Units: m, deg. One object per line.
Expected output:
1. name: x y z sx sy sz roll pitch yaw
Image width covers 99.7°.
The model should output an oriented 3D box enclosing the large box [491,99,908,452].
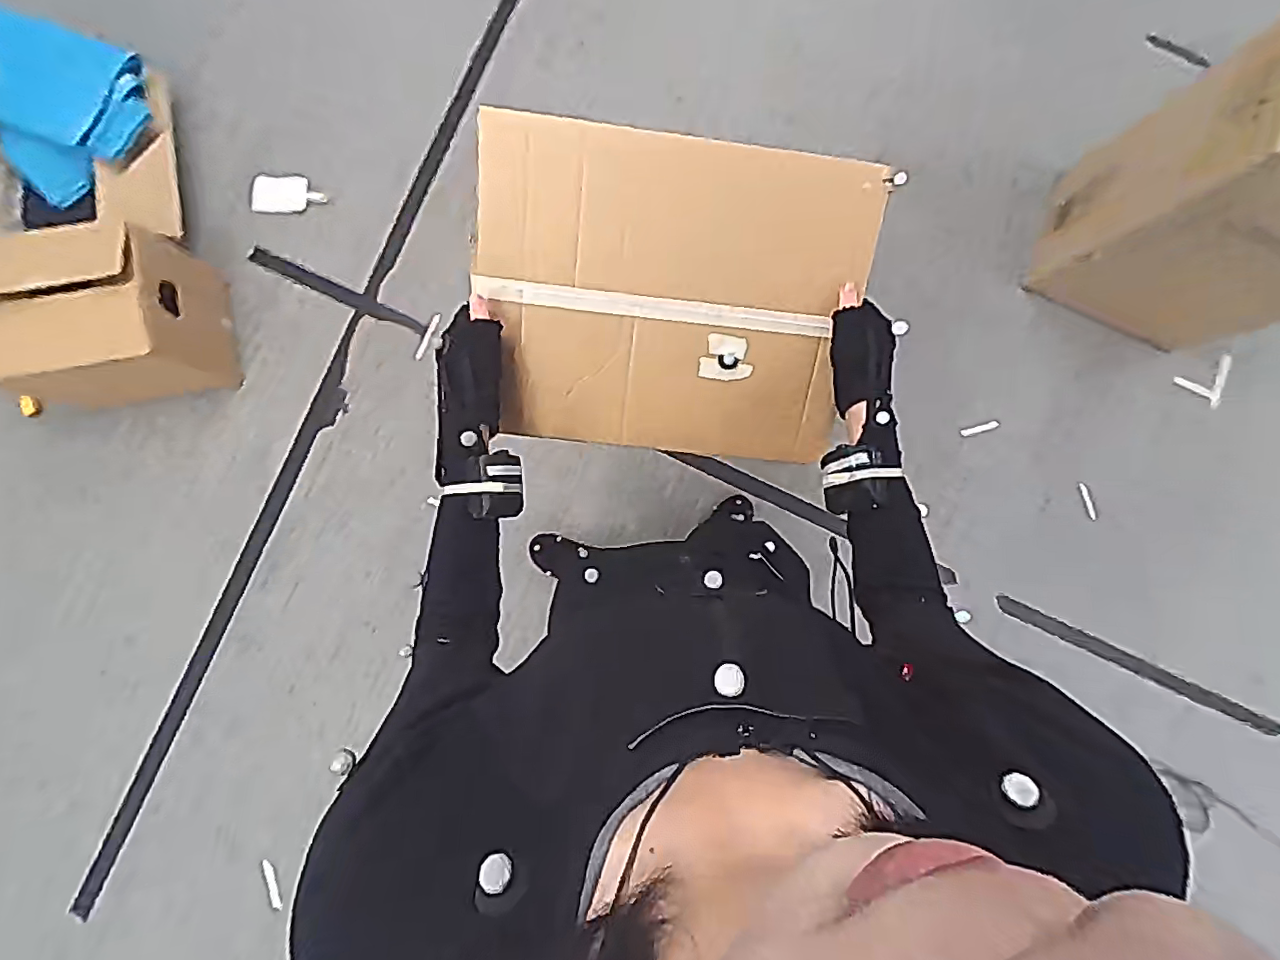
1. large box: 0.041 -0.241 0.697 0.408 0.320 0.320 6 111 -4
